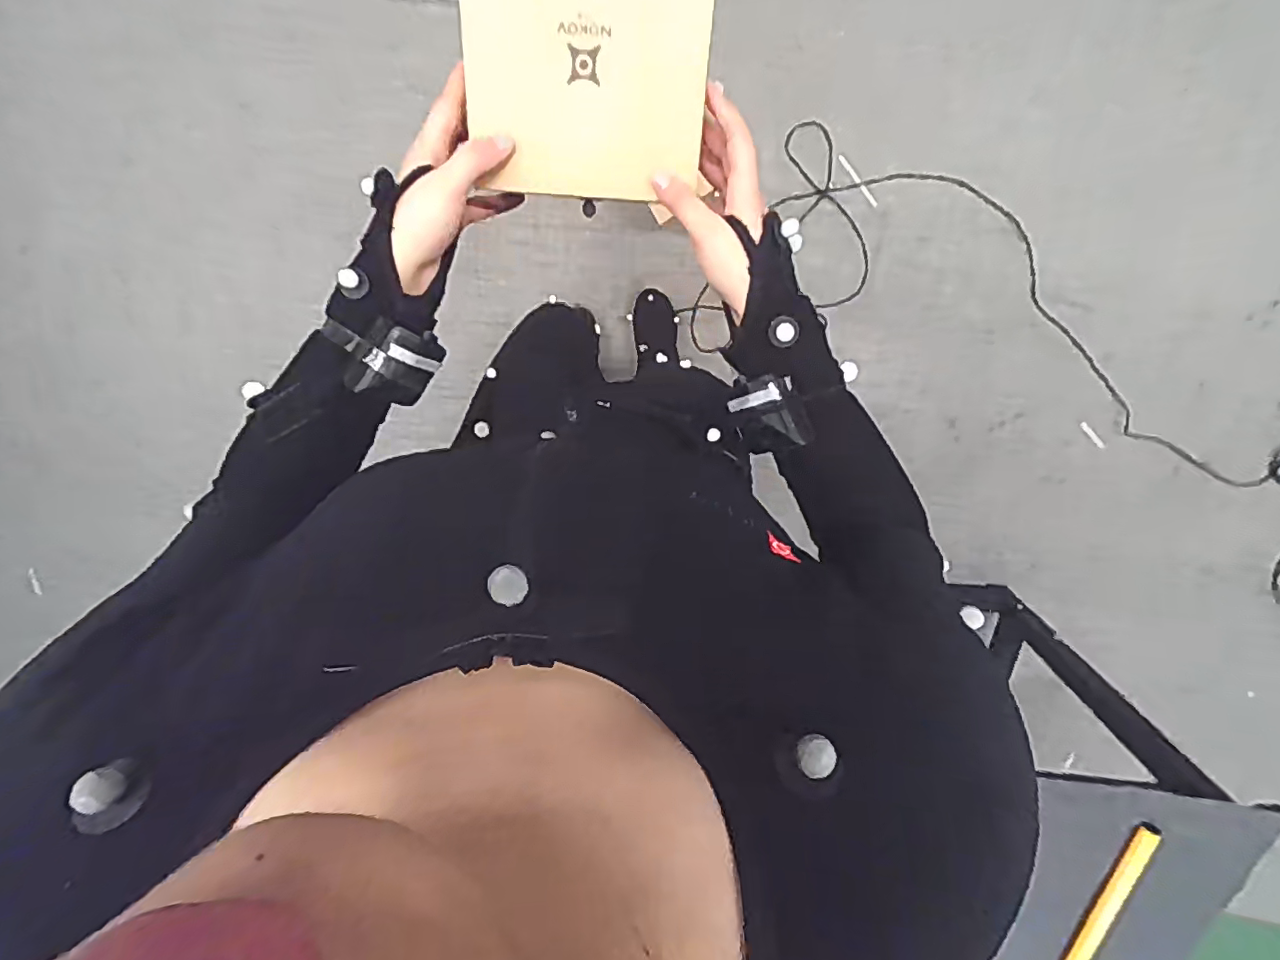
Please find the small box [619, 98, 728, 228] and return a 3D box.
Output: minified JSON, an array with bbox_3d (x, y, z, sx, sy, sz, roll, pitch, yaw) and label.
[{"bbox_3d":[0.077,-0.678,1.186,0.179,0.176,0.168,-29,105,14],"label":"small box"}]
